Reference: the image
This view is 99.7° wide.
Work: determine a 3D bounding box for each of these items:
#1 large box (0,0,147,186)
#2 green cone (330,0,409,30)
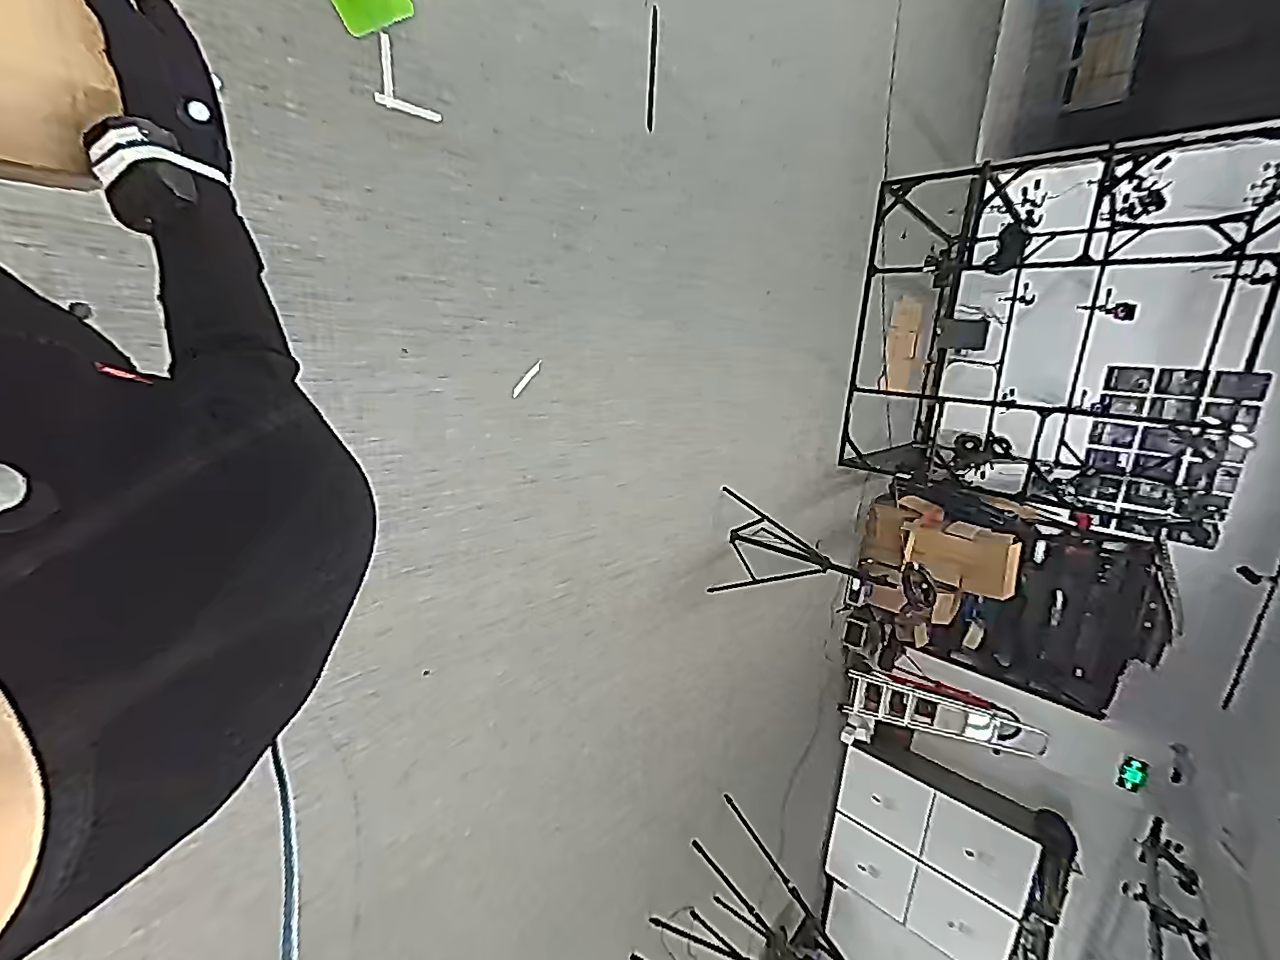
[{"bbox_3d":[-0.641,-0.404,0.346,0.408,0.320,0.320,-15,120,-50],"label":"large box"},{"bbox_3d":[-0.523,-1.137,1.133,0.202,0.368,0.200,-53,137,-27],"label":"green cone"}]
